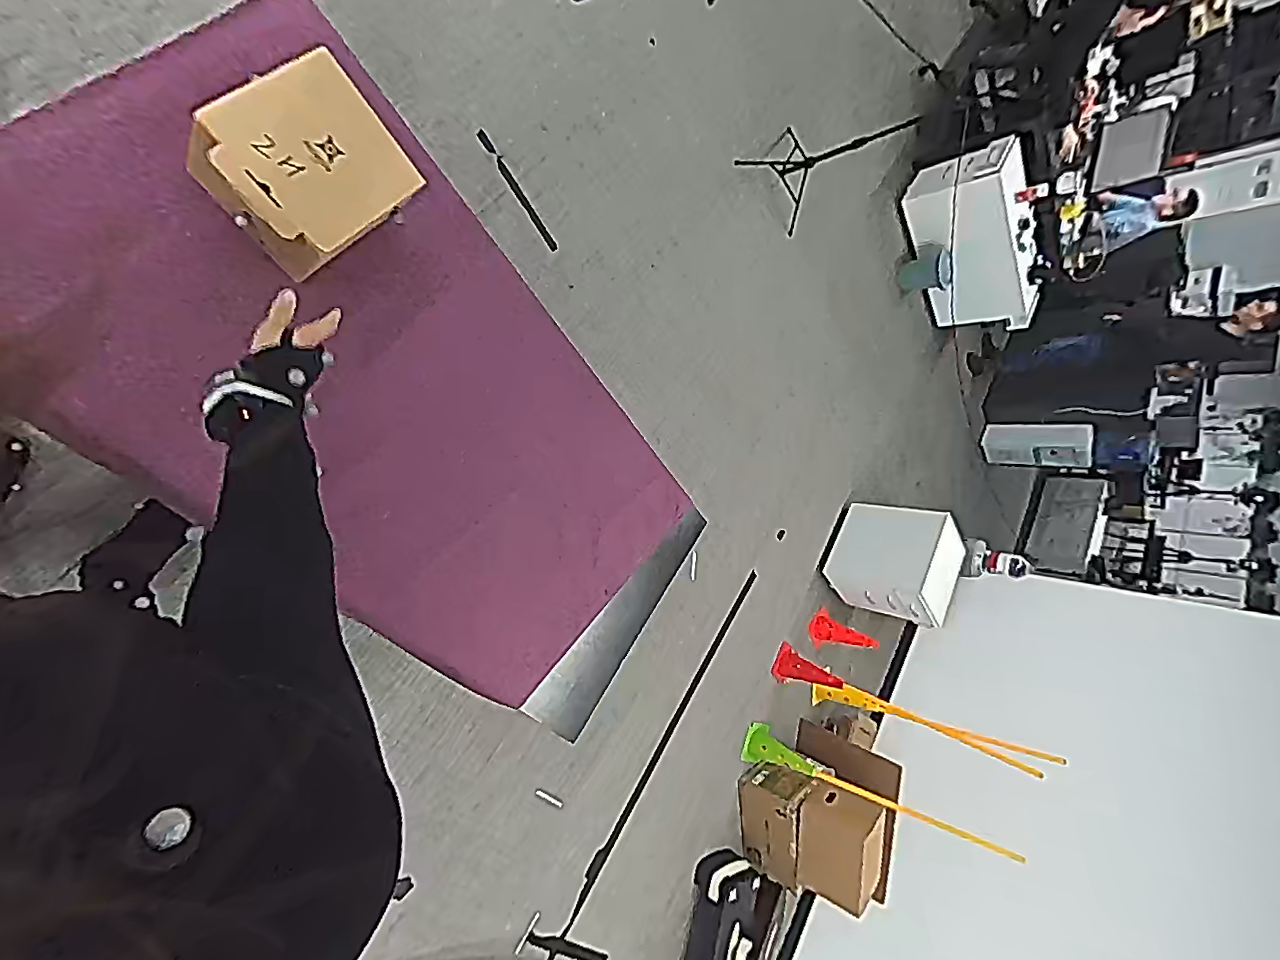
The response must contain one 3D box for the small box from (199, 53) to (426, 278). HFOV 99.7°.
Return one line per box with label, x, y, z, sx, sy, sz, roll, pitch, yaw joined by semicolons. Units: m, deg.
small box;-0.421;-0.388;0.692;0.179;0.176;0.168;-53;125;-24
